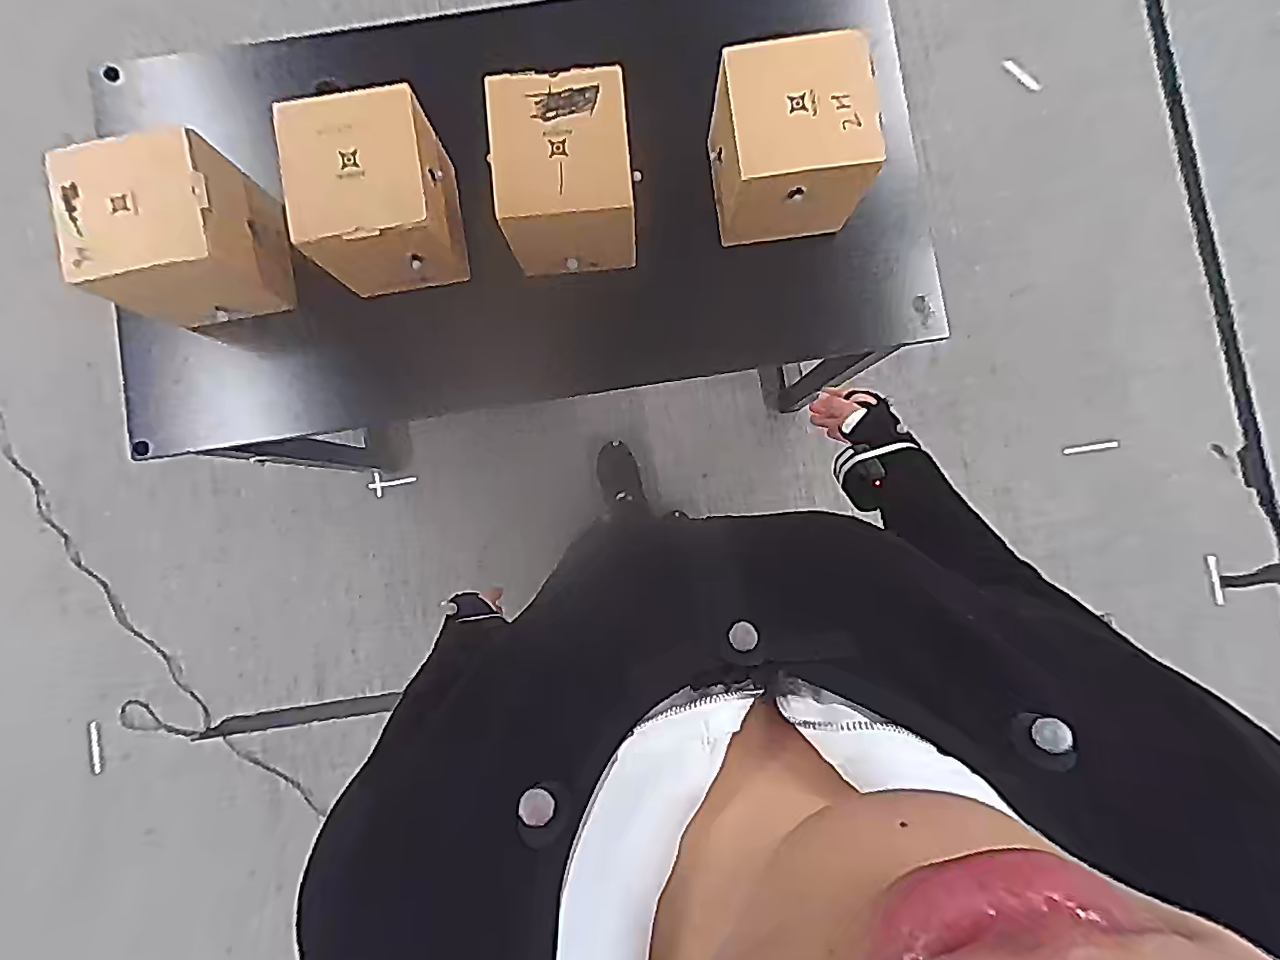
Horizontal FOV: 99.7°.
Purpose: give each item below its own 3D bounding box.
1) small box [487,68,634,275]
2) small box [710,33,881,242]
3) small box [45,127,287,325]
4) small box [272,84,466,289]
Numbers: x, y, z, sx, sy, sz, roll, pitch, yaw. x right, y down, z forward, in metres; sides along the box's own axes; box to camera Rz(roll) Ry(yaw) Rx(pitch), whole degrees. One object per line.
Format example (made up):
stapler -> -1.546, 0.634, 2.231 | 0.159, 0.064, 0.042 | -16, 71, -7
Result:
small box -> -0.097, -0.397, 0.720 | 0.168, 0.176, 0.179 | -5, 88, 0
small box -> 0.192, -0.439, 0.722 | 0.179, 0.176, 0.168 | -7, 88, 0
small box -> -0.602, -0.321, 0.715 | 0.179, 0.176, 0.168 | -11, 87, -2
small box -> -0.345, -0.371, 0.720 | 0.168, 0.176, 0.179 | -10, 86, -1
